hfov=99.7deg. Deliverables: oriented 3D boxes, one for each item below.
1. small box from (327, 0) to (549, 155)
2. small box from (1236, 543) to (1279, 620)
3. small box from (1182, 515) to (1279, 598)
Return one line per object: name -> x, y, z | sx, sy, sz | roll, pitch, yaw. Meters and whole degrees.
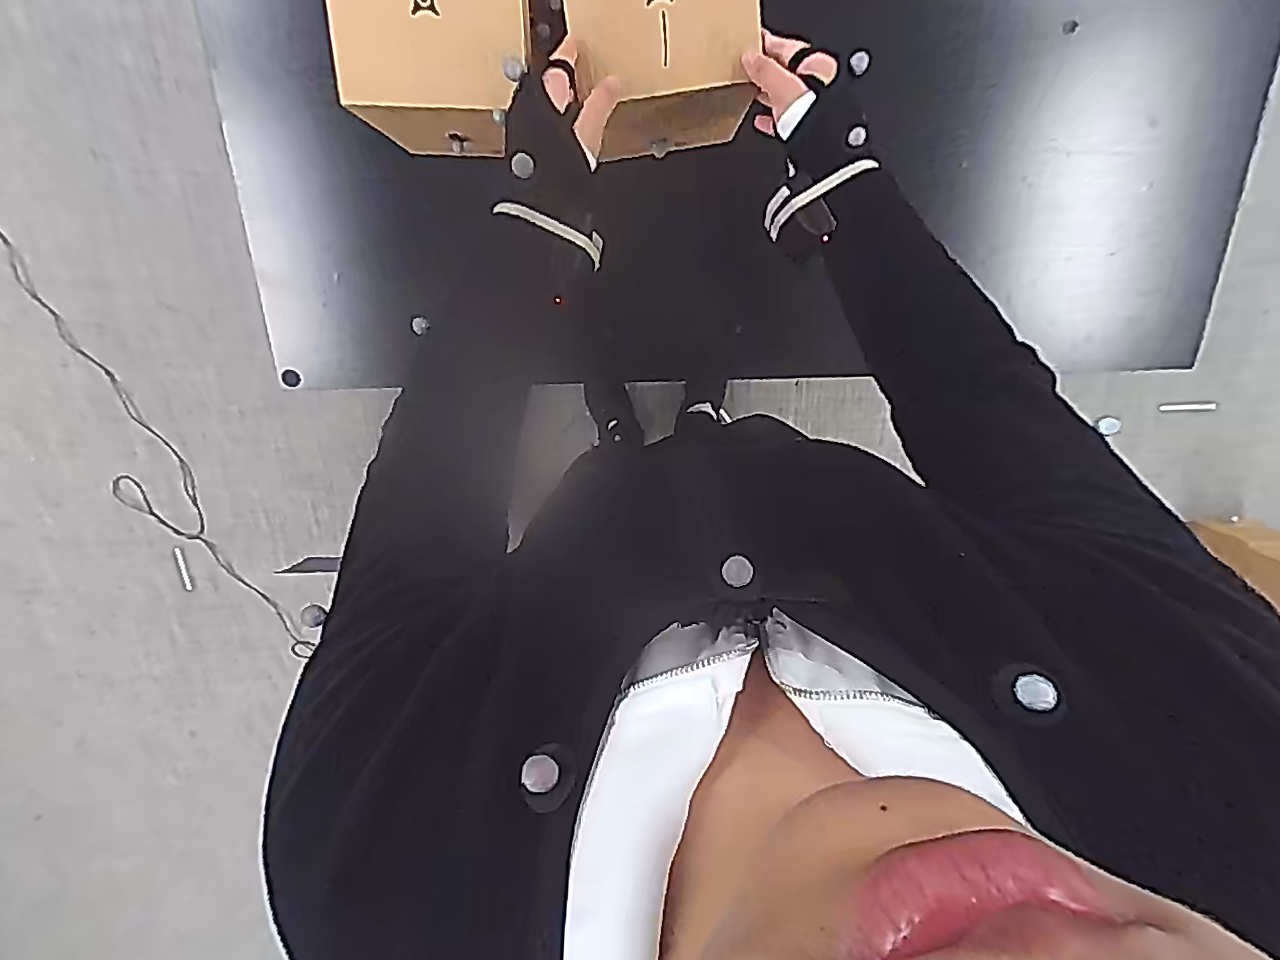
small box -> -0.183, -0.436, 0.530 | 0.168, 0.176, 0.179 | 0, 107, -2
small box -> 1.698, 0.265, 1.366 | 0.179, 0.176, 0.168 | -4, 108, 0
small box -> 1.697, 0.212, 1.522 | 0.168, 0.176, 0.179 | -3, 107, -1
